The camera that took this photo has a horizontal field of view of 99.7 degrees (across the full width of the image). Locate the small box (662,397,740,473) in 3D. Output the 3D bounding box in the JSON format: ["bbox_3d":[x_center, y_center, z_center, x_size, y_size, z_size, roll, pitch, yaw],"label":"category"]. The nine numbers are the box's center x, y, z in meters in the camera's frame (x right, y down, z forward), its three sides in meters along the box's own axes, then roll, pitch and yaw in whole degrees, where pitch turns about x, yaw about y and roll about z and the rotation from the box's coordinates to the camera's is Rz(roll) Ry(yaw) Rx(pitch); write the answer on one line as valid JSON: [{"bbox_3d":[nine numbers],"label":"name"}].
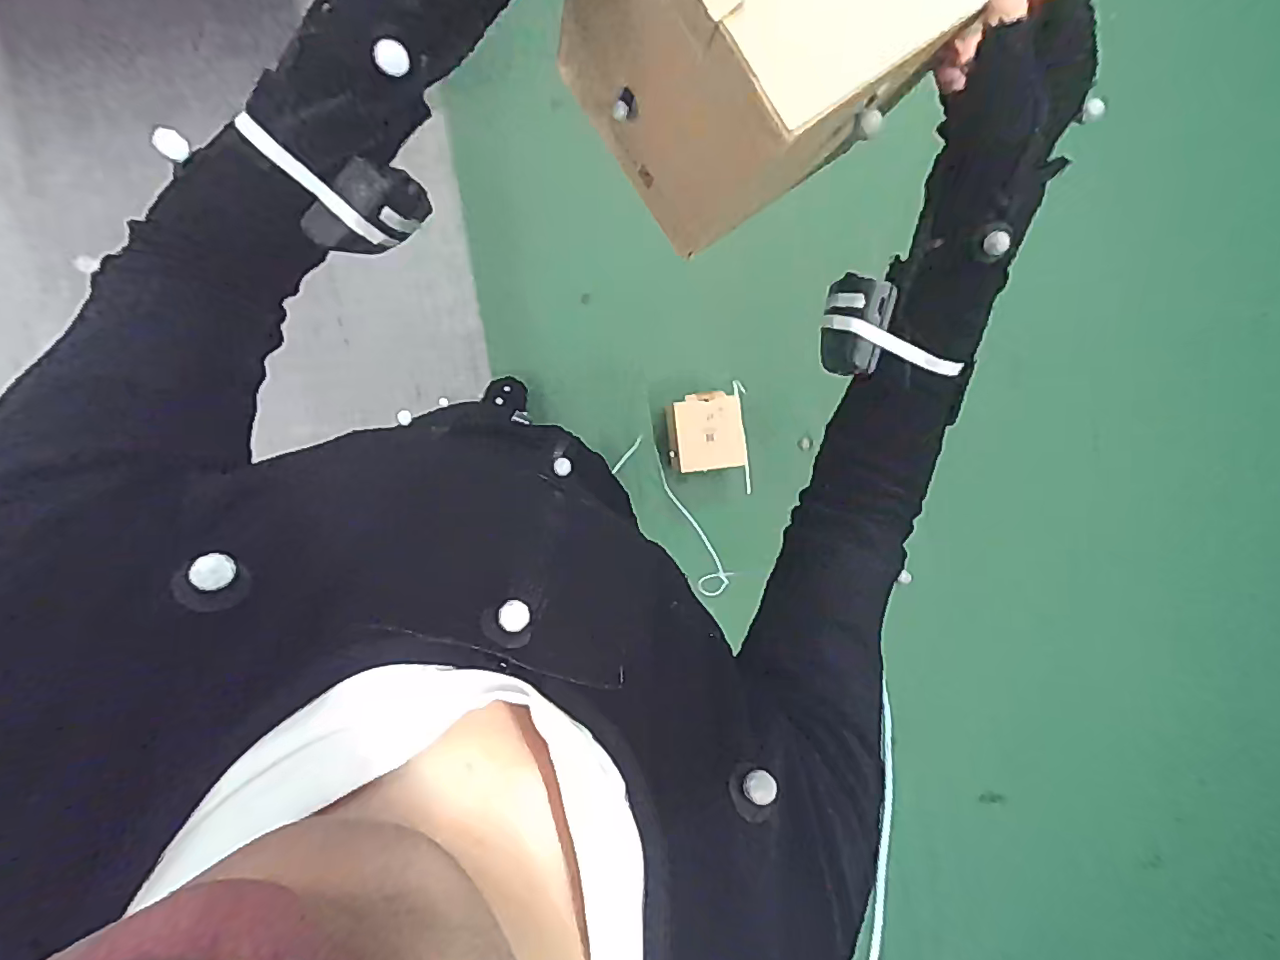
[{"bbox_3d":[0.154,-0.121,1.408,0.168,0.176,0.179,-7,96,-5],"label":"small box"}]

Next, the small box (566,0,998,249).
[{"bbox_3d":[0.071,-0.284,0.337,0.179,0.176,0.168,-38,100,-8],"label":"small box"}]
